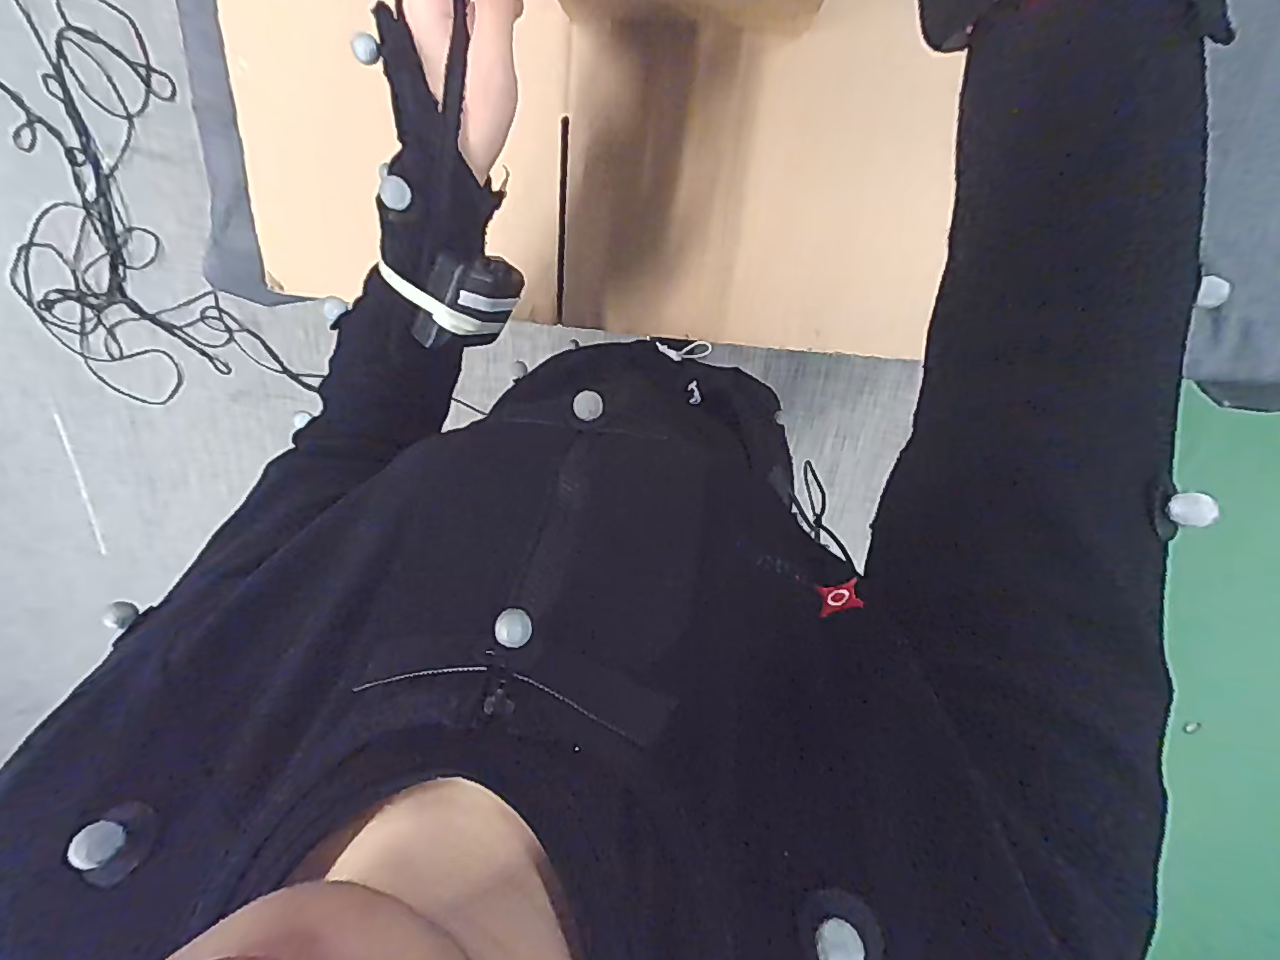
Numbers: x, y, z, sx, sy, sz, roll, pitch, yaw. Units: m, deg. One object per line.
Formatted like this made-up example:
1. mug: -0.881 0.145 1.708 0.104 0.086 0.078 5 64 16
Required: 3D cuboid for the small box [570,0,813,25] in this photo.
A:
1. small box: 0.035 -0.366 0.273 0.179 0.176 0.168 5 111 4
